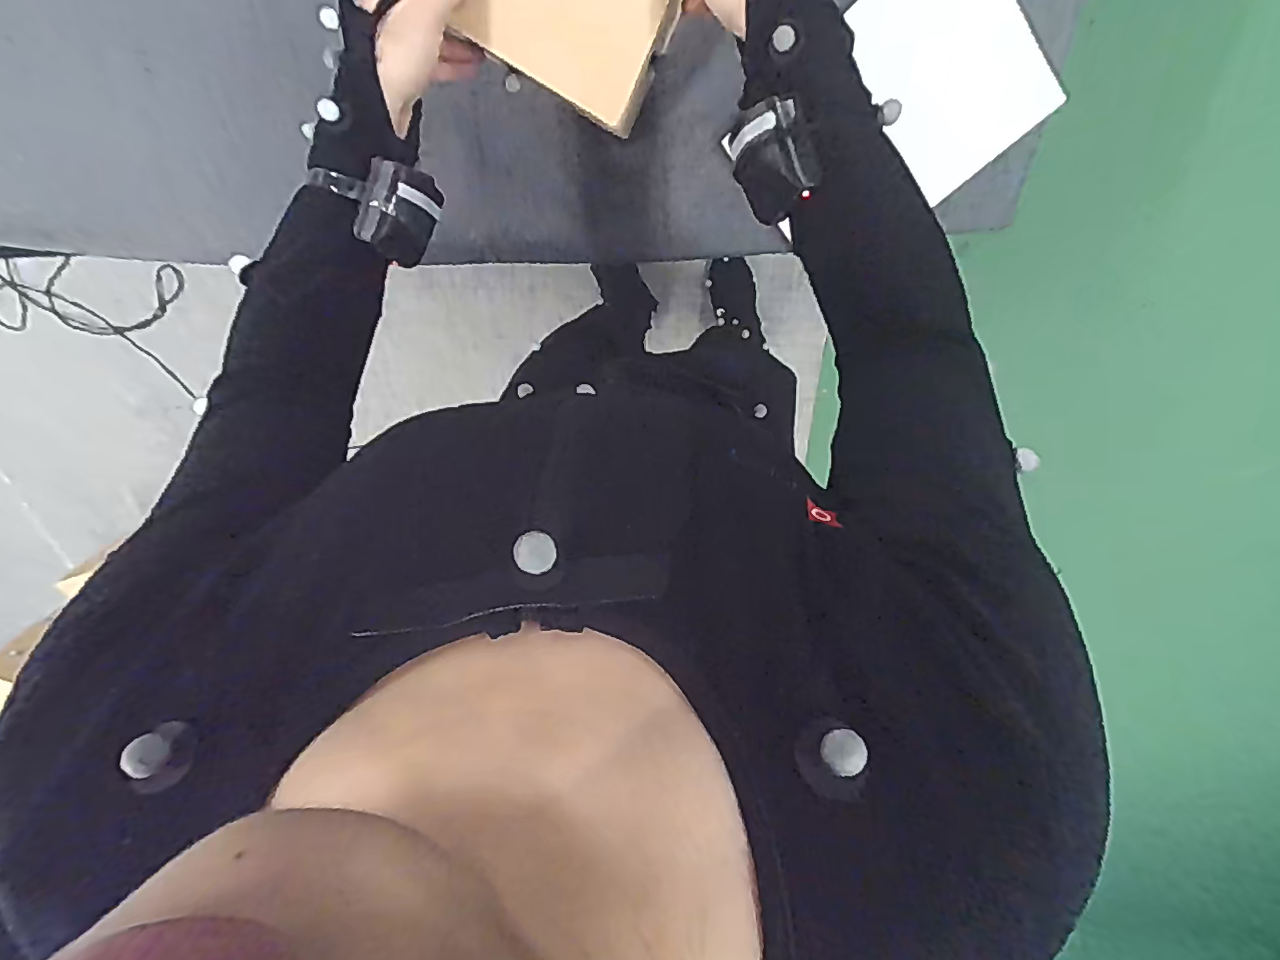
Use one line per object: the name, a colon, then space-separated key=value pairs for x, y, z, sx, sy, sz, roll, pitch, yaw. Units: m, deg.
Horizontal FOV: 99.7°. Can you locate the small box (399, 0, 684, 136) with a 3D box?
small box: x=-0.058 y=-0.409 z=0.437 sx=0.179 sy=0.176 sz=0.168 roll=25 pitch=119 yaw=-10
